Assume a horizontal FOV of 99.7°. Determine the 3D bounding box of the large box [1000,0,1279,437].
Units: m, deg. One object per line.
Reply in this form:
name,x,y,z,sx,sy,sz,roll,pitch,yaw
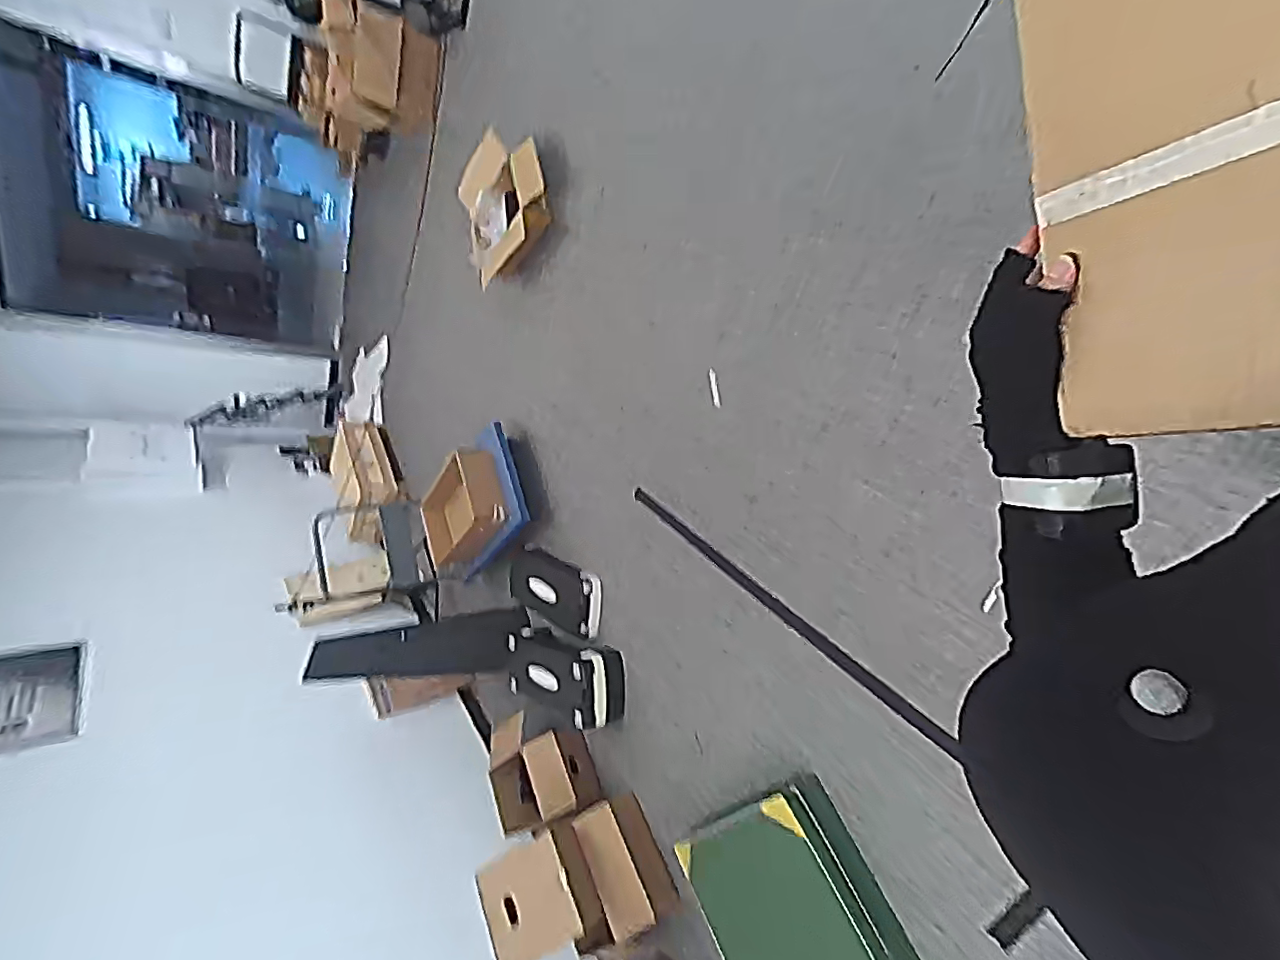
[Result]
large box,0.498,-0.220,0.279,0.408,0.320,0.320,-4,98,60
